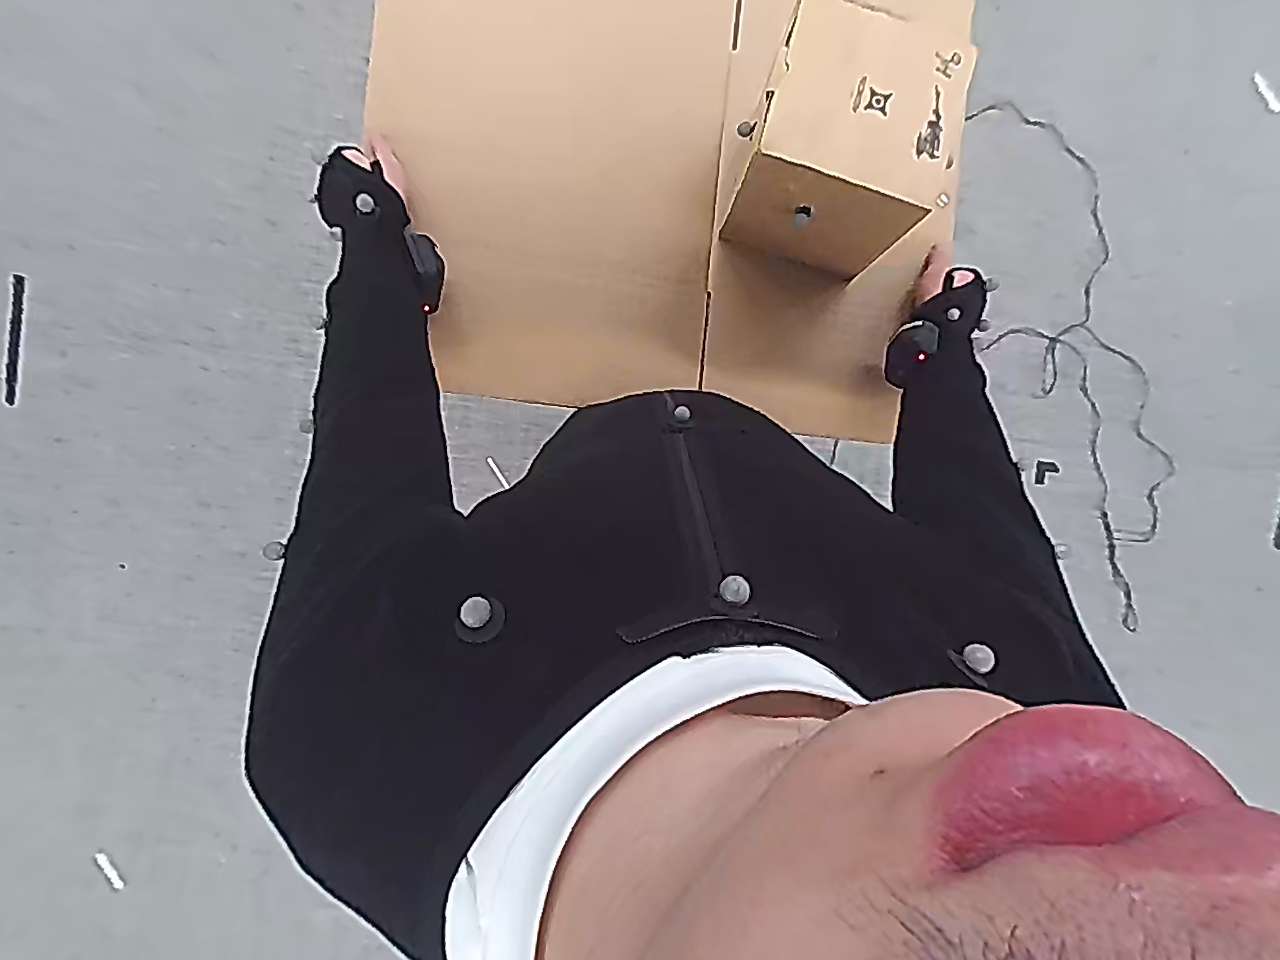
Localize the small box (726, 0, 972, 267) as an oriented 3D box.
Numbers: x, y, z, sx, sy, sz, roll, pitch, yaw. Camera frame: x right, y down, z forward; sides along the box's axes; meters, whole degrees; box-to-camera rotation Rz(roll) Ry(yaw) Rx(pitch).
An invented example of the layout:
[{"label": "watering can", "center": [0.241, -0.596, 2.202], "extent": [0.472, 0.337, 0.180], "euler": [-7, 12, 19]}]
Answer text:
[{"label": "small box", "center": [0.205, -0.356, 0.584], "extent": [0.179, 0.176, 0.168], "euler": [16, 89, -2]}]
